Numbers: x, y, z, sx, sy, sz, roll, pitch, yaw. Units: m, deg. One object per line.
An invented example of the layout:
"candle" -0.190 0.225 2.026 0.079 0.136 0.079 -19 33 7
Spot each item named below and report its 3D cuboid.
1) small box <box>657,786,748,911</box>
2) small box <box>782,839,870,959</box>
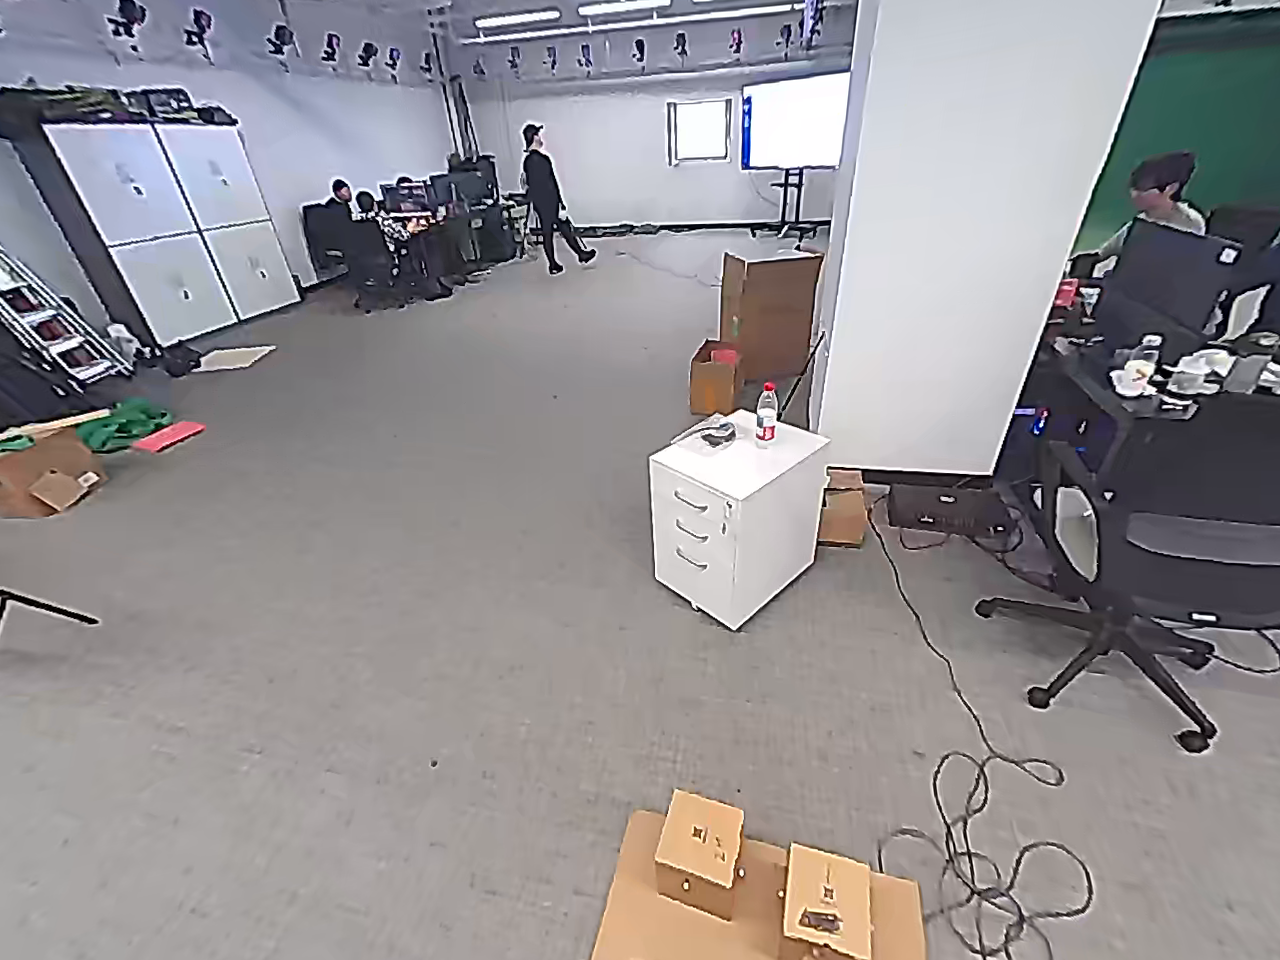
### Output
"small box" 0.151 0.873 1.280 0.179 0.176 0.168 8 35 19
"small box" 0.401 0.930 1.166 0.168 0.176 0.179 6 33 19
